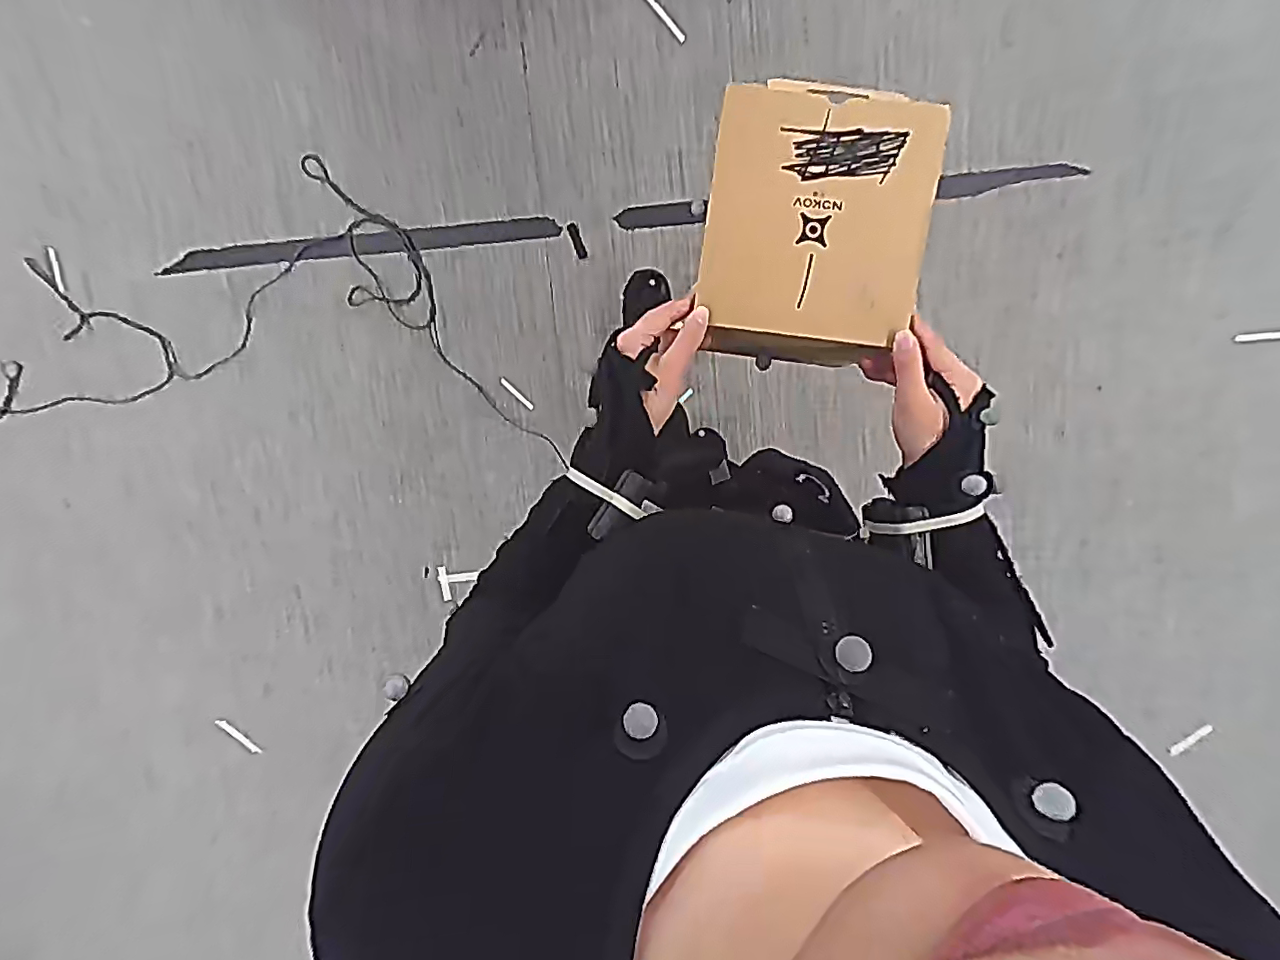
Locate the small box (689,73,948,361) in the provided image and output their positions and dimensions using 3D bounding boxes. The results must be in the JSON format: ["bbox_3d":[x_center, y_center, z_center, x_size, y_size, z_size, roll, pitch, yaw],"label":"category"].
[{"bbox_3d":[0.137,-0.213,0.485,0.168,0.176,0.179,9,98,3],"label":"small box"}]
